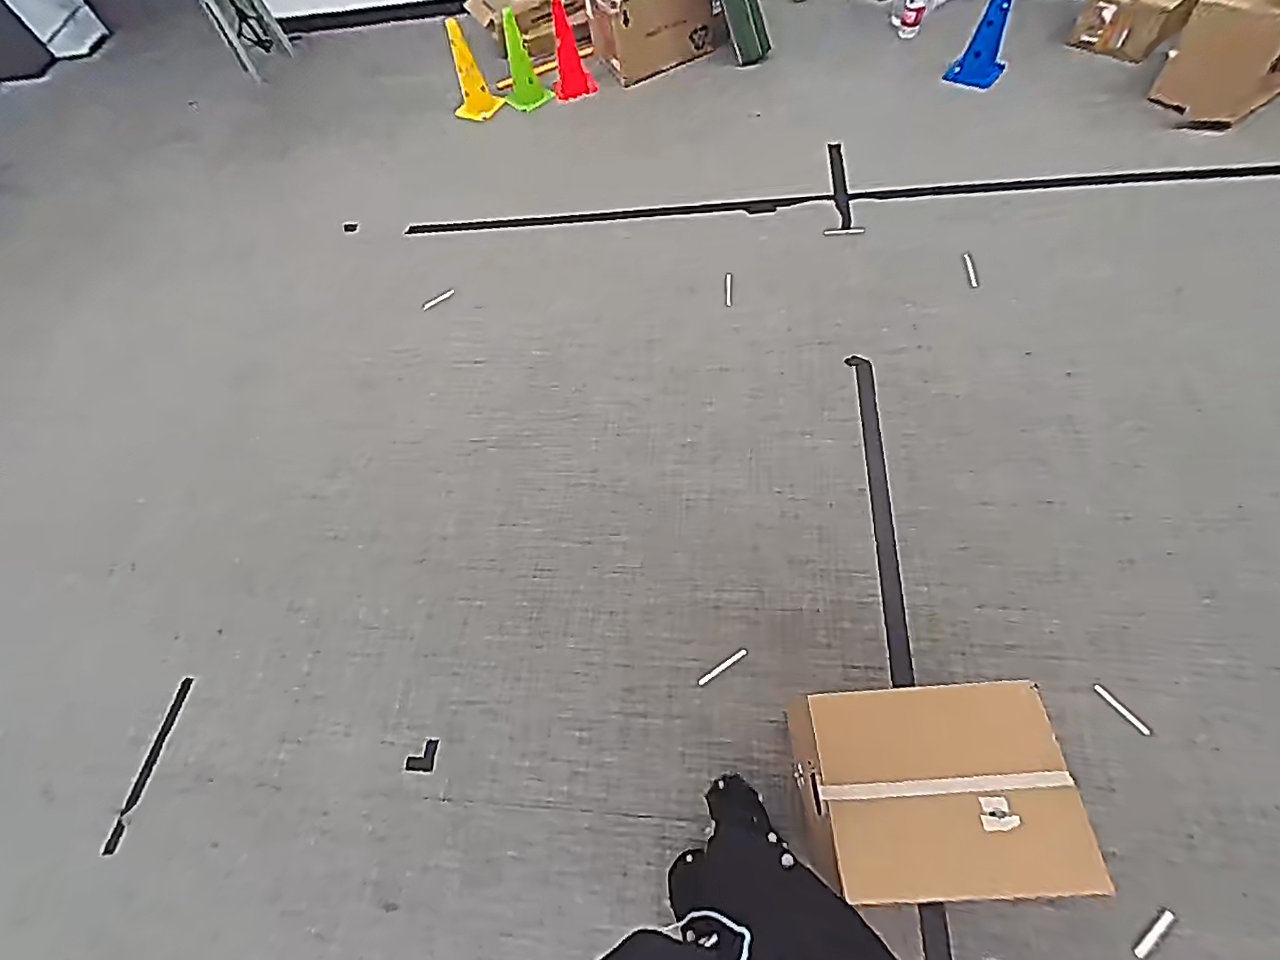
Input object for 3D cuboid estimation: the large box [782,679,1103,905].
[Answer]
[{"bbox_3d":[0.519,0.581,1.038,0.408,0.320,0.320,-5,63,4],"label":"large box"}]
